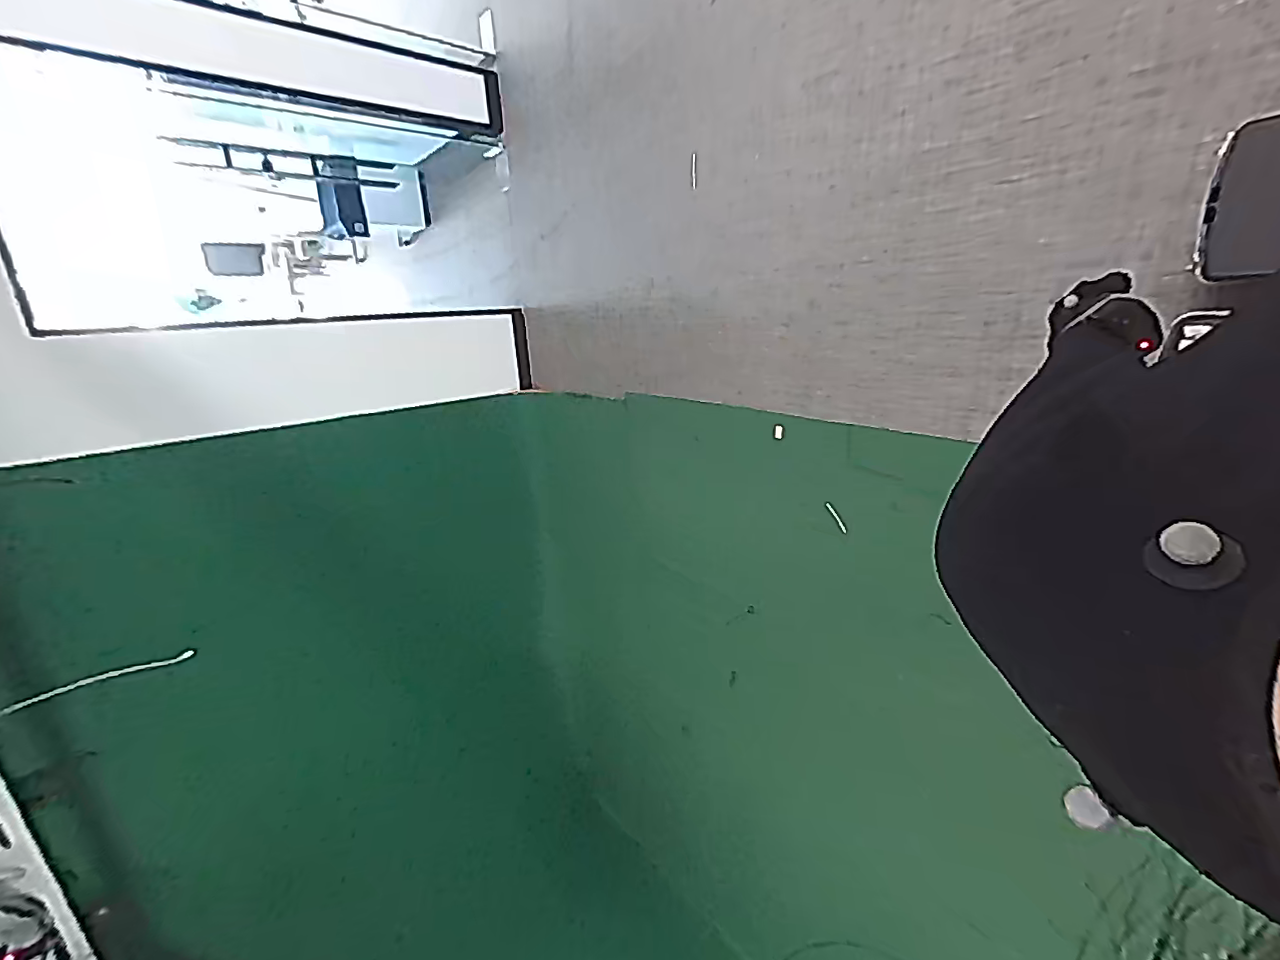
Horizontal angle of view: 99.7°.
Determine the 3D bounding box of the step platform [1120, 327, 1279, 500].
[{"bbox_3d":[1.147,-0.070,0.759,0.684,0.204,0.286,16,115,47],"label":"step platform"}]
